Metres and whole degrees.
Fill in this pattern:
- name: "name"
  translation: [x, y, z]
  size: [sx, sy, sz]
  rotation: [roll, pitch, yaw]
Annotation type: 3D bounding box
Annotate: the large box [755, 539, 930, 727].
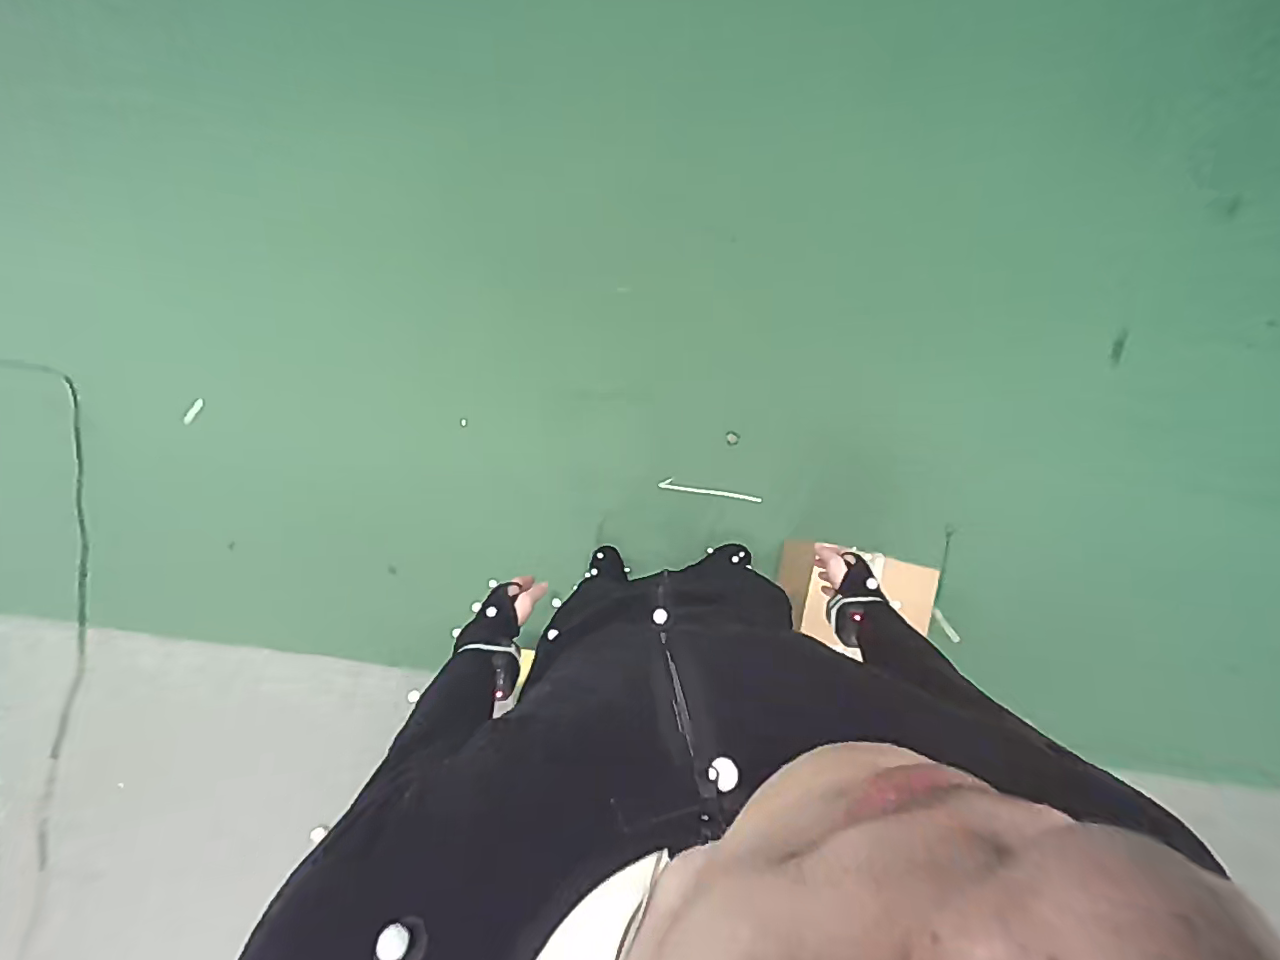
- name: "large box"
  translation: [0.538, 0.393, 1.491]
  size: [0.320, 0.320, 0.408]
  rotation: [14, 86, 0]
